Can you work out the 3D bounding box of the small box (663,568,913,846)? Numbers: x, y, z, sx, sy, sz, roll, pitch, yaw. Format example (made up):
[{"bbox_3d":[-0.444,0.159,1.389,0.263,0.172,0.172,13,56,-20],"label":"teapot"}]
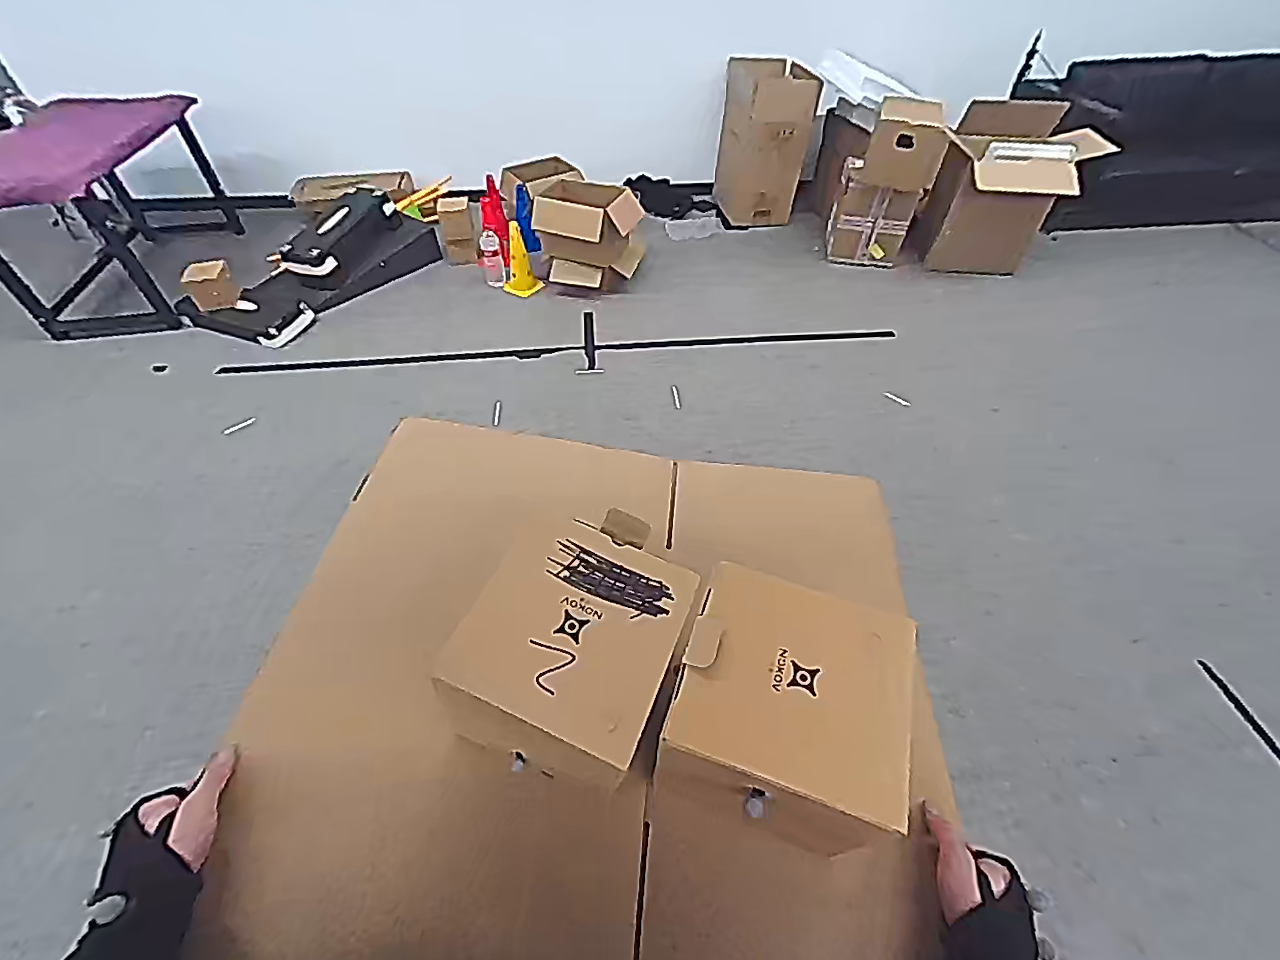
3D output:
[{"bbox_3d":[0.128,0.213,0.500,0.179,0.176,0.168,15,51,11],"label":"small box"}]
